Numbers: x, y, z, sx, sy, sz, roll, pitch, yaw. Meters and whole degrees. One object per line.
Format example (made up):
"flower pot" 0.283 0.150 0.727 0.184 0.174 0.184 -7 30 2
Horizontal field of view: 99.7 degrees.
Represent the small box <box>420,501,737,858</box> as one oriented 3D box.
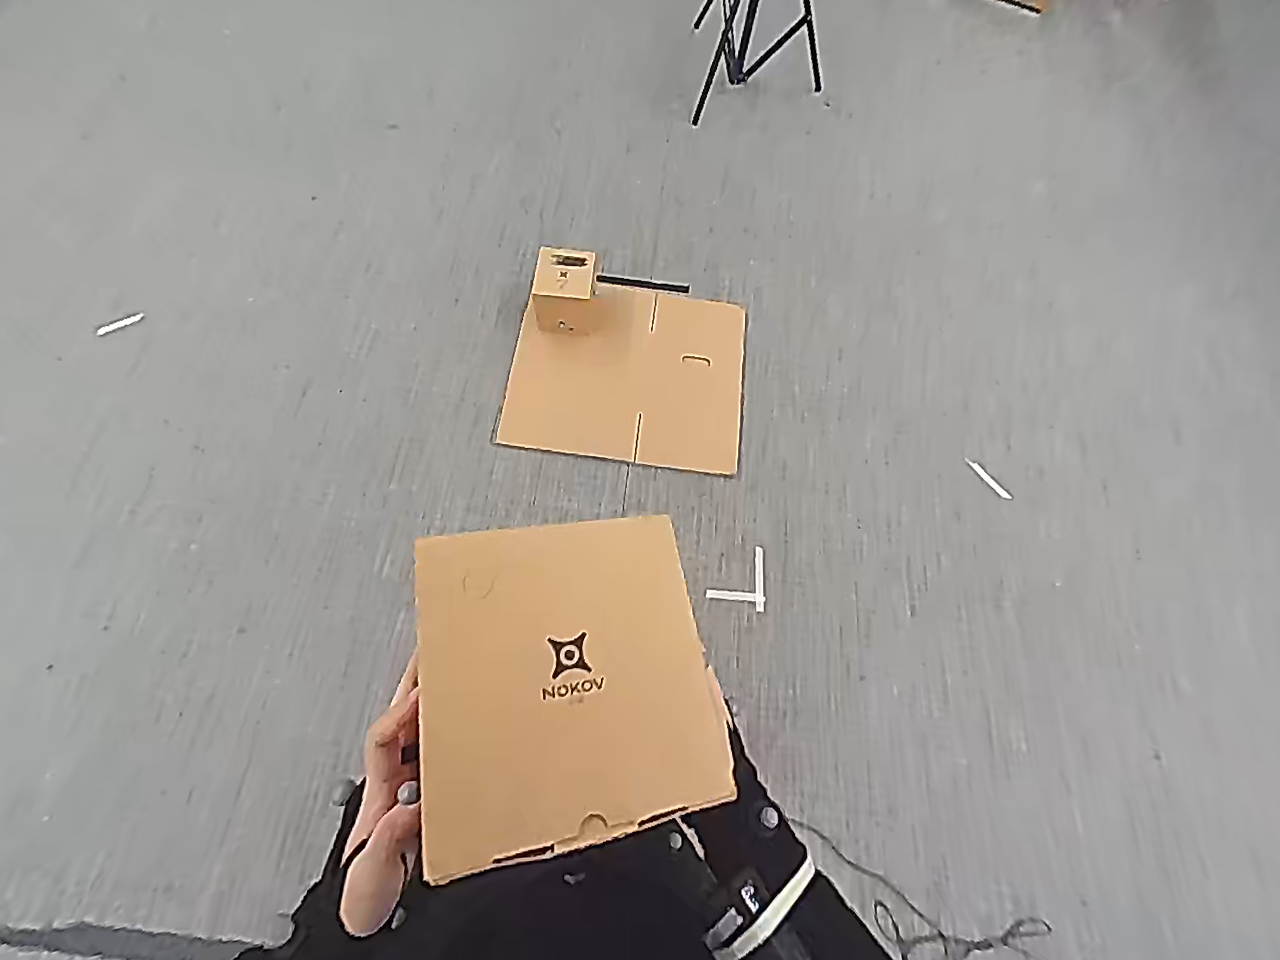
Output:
"small box" -0.059 0.132 0.379 0.168 0.176 0.179 -5 65 -18
